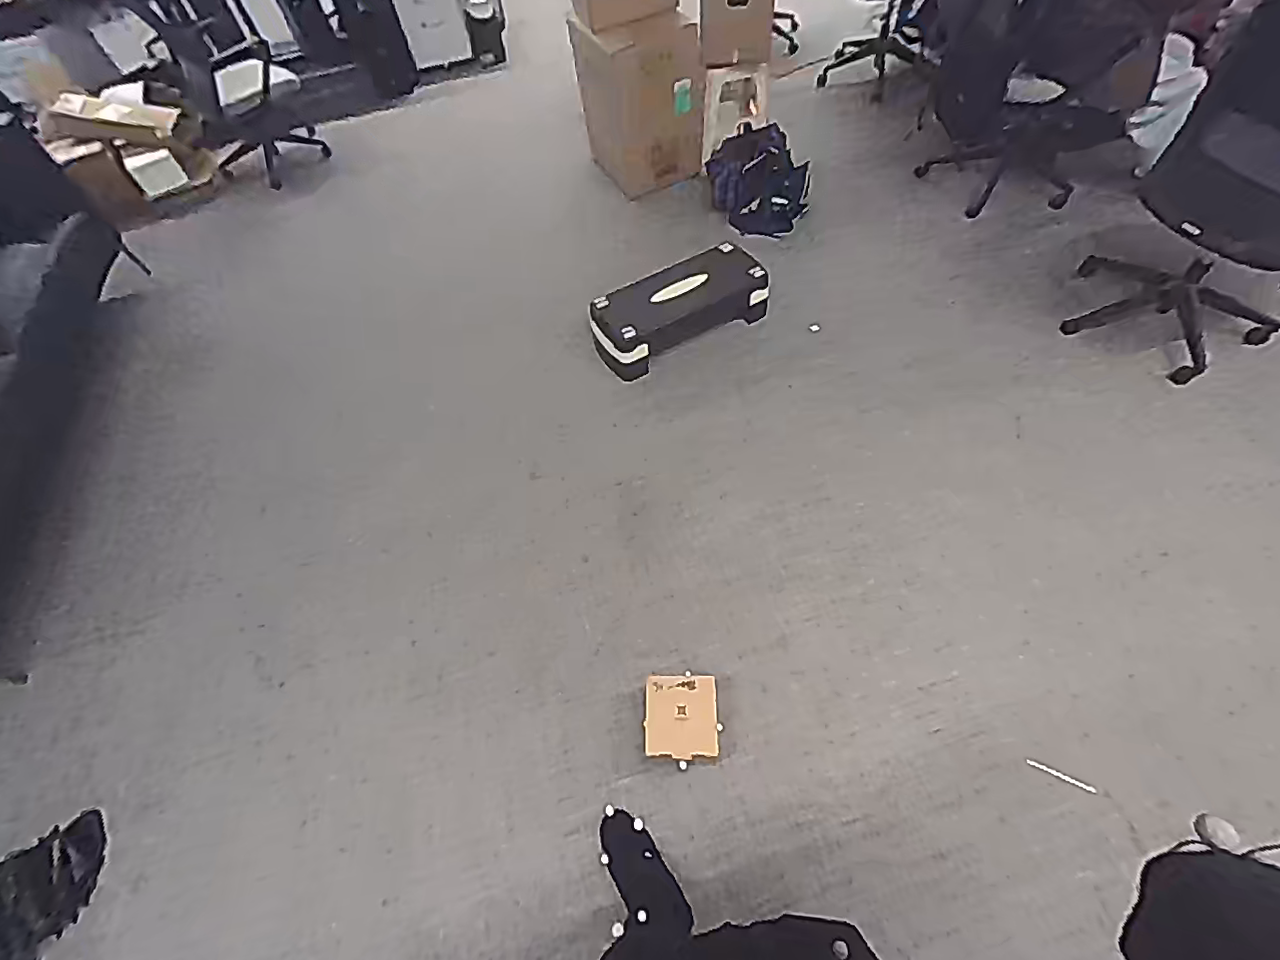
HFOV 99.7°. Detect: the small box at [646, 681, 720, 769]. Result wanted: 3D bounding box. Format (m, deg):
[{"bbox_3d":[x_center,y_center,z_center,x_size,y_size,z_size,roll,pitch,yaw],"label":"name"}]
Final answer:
[{"bbox_3d":[0.107,0.592,1.301,0.168,0.176,0.179,-3,57,6],"label":"small box"}]
